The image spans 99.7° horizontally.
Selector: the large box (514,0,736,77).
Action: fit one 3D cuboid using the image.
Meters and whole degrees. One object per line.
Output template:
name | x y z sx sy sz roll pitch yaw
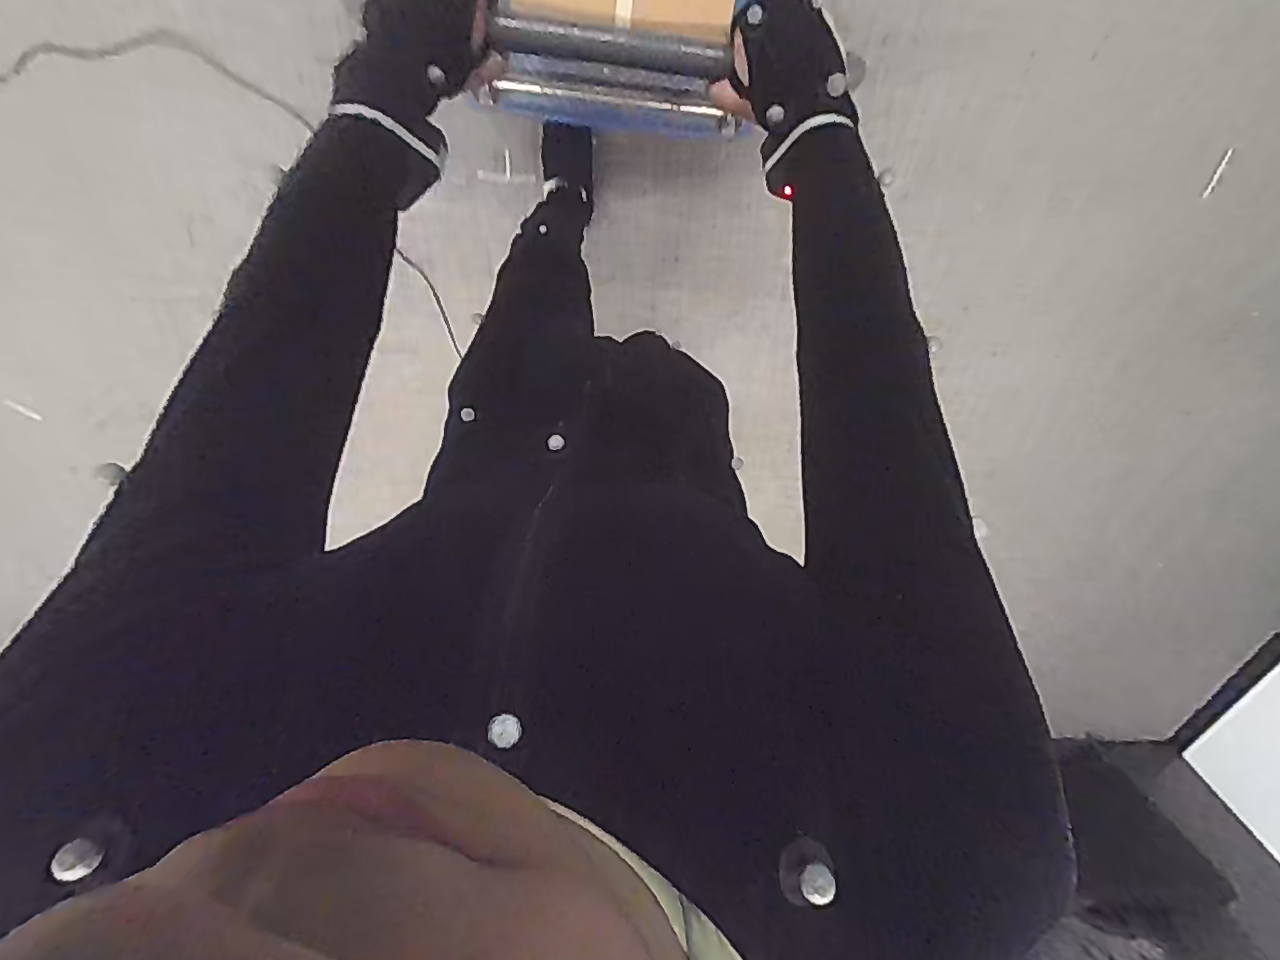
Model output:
large box | -0.012 -0.872 0.804 0.320 0.320 0.408 4 123 -5
